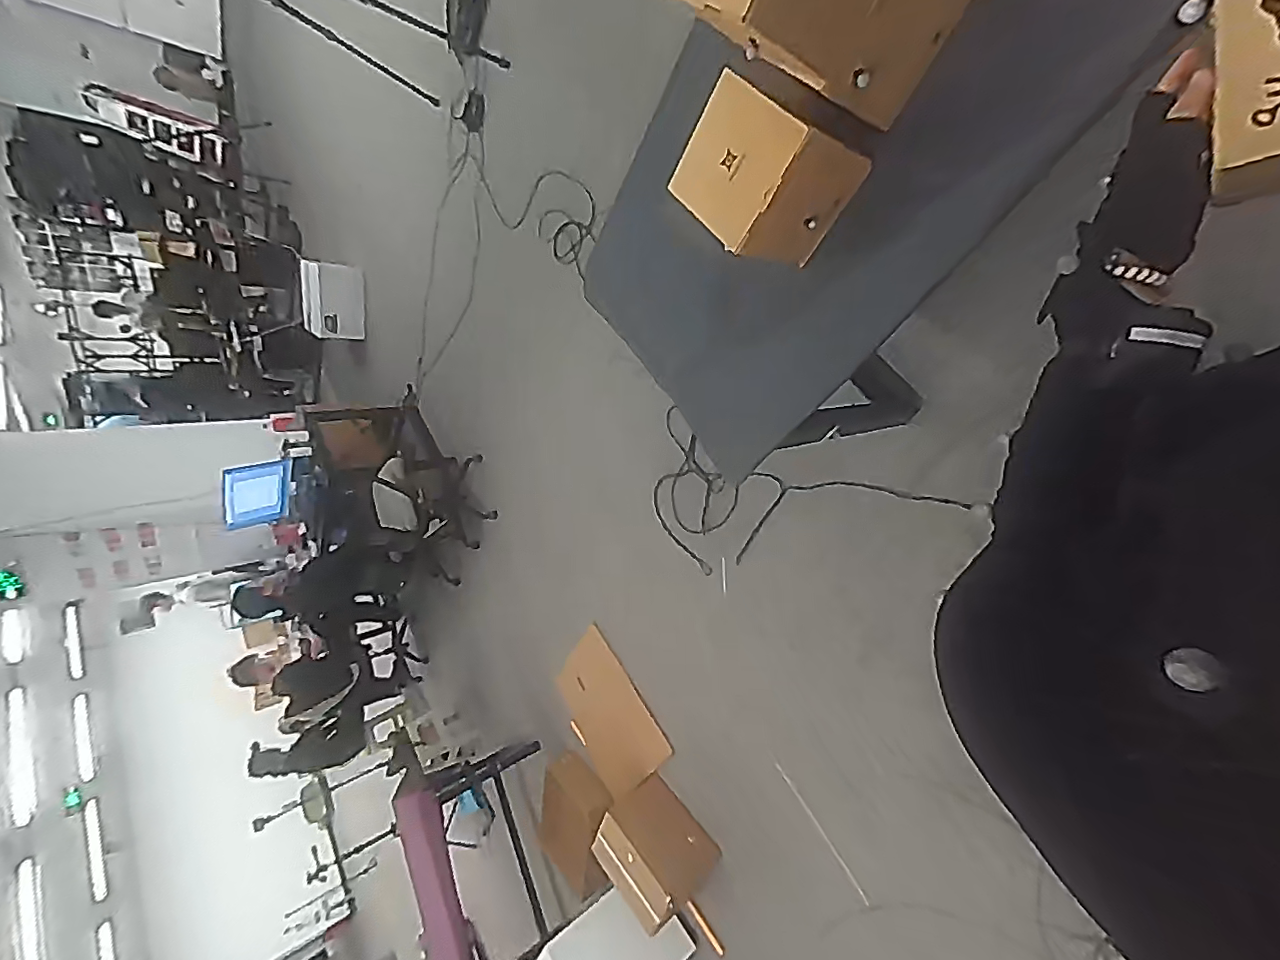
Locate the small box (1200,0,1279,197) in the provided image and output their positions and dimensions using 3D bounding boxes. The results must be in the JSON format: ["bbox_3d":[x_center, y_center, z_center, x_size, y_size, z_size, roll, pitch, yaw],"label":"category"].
[{"bbox_3d":[0.449,-0.284,0.306,0.179,0.176,0.168,1,102,45],"label":"small box"}]
